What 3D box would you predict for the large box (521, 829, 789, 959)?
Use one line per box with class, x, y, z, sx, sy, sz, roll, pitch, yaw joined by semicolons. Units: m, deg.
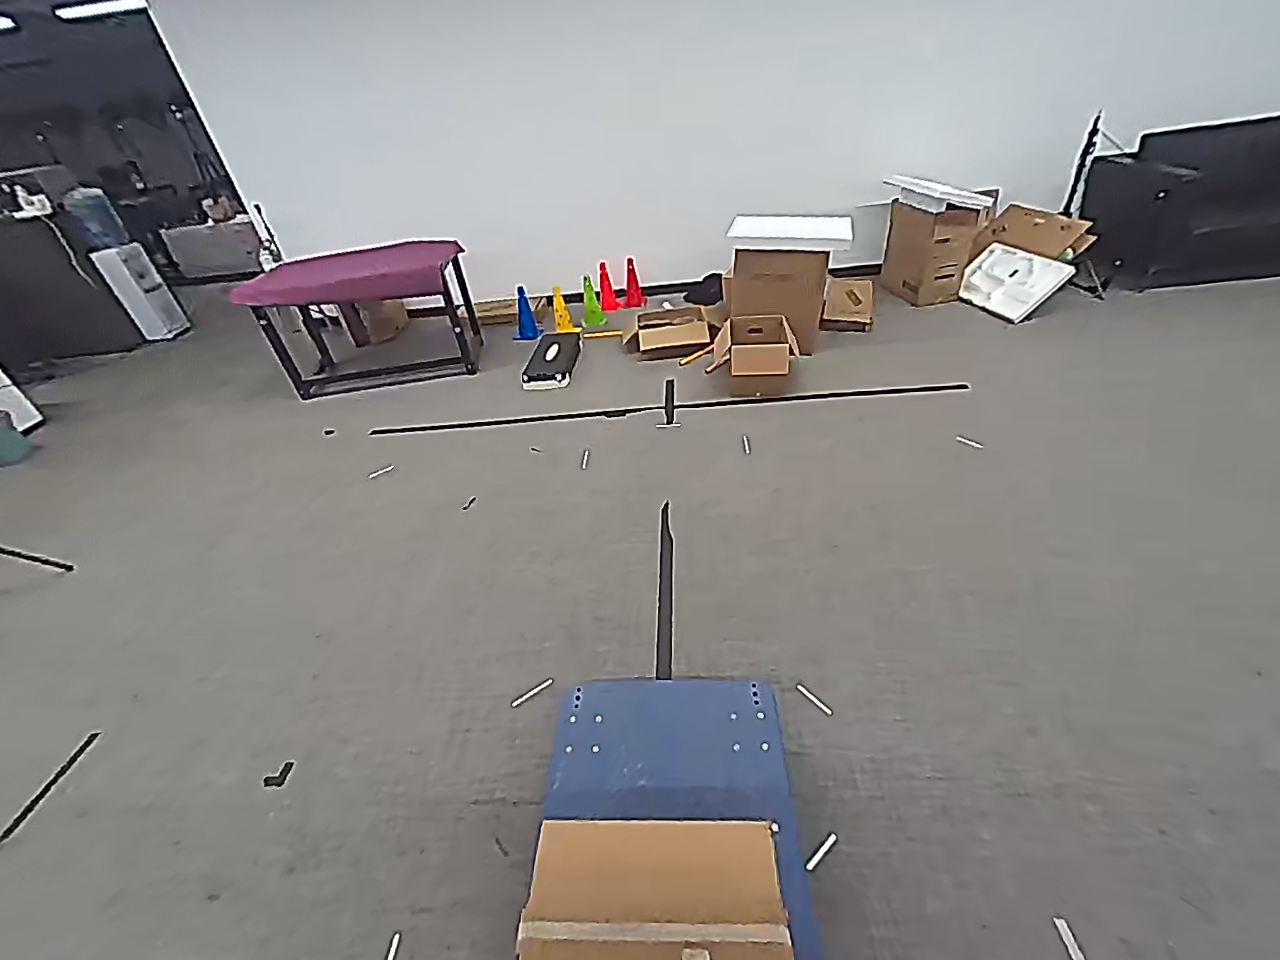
large box;0.030;0.816;0.898;0.408;0.320;0.320;-3;37;4
